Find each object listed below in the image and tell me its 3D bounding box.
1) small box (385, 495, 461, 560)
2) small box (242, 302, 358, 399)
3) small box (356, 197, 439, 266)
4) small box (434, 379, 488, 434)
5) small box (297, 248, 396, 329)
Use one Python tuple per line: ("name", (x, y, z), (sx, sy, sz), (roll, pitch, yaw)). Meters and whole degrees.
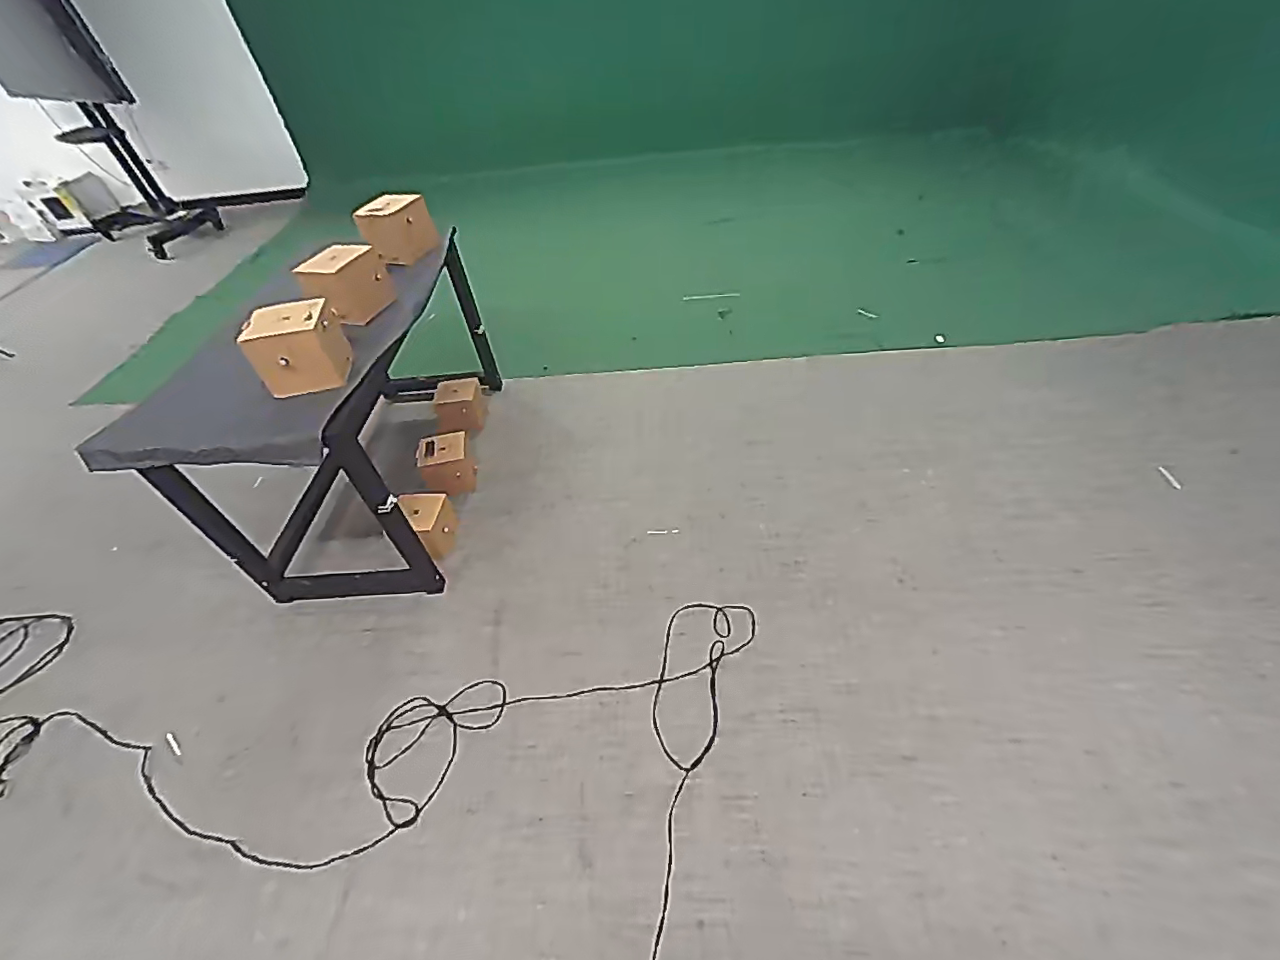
("small box", (-0.755, 0.170, 1.910), (0.179, 0.176, 0.168), (-1, 47, 7))
("small box", (-0.858, -0.327, 1.382), (0.179, 0.176, 0.168), (-13, 46, -6))
("small box", (-0.839, -0.868, 1.892), (0.168, 0.176, 0.179), (10, 50, 19))
("small box", (-0.780, -0.321, 2.379), (0.179, 0.176, 0.168), (-7, 45, 0))
("small box", (-0.867, -0.577, 1.624), (0.168, 0.176, 0.179), (9, 49, 19))
